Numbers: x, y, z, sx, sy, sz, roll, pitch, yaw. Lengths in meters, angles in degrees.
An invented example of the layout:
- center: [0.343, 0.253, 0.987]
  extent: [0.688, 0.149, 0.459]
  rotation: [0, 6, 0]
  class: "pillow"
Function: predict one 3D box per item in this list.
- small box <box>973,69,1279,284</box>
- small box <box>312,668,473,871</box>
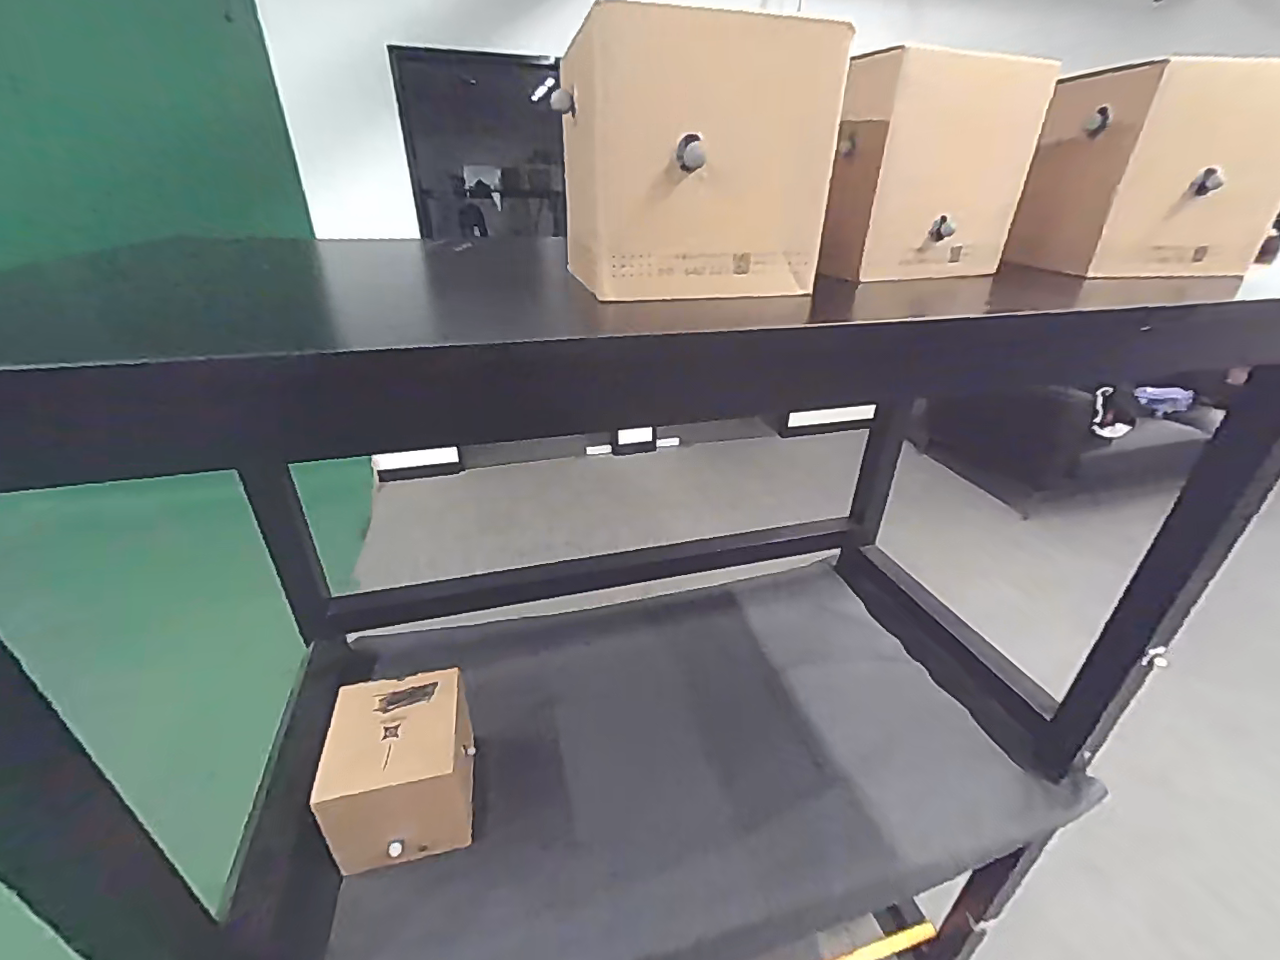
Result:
- center: [0.485, -0.298, 0.549]
  extent: [0.168, 0.176, 0.179]
  rotation: [-1, 29, -4]
  class: "small box"
- center: [-0.334, 0.403, 0.767]
  extent: [0.168, 0.176, 0.179]
  rotation: [-6, 30, -13]
  class: "small box"
